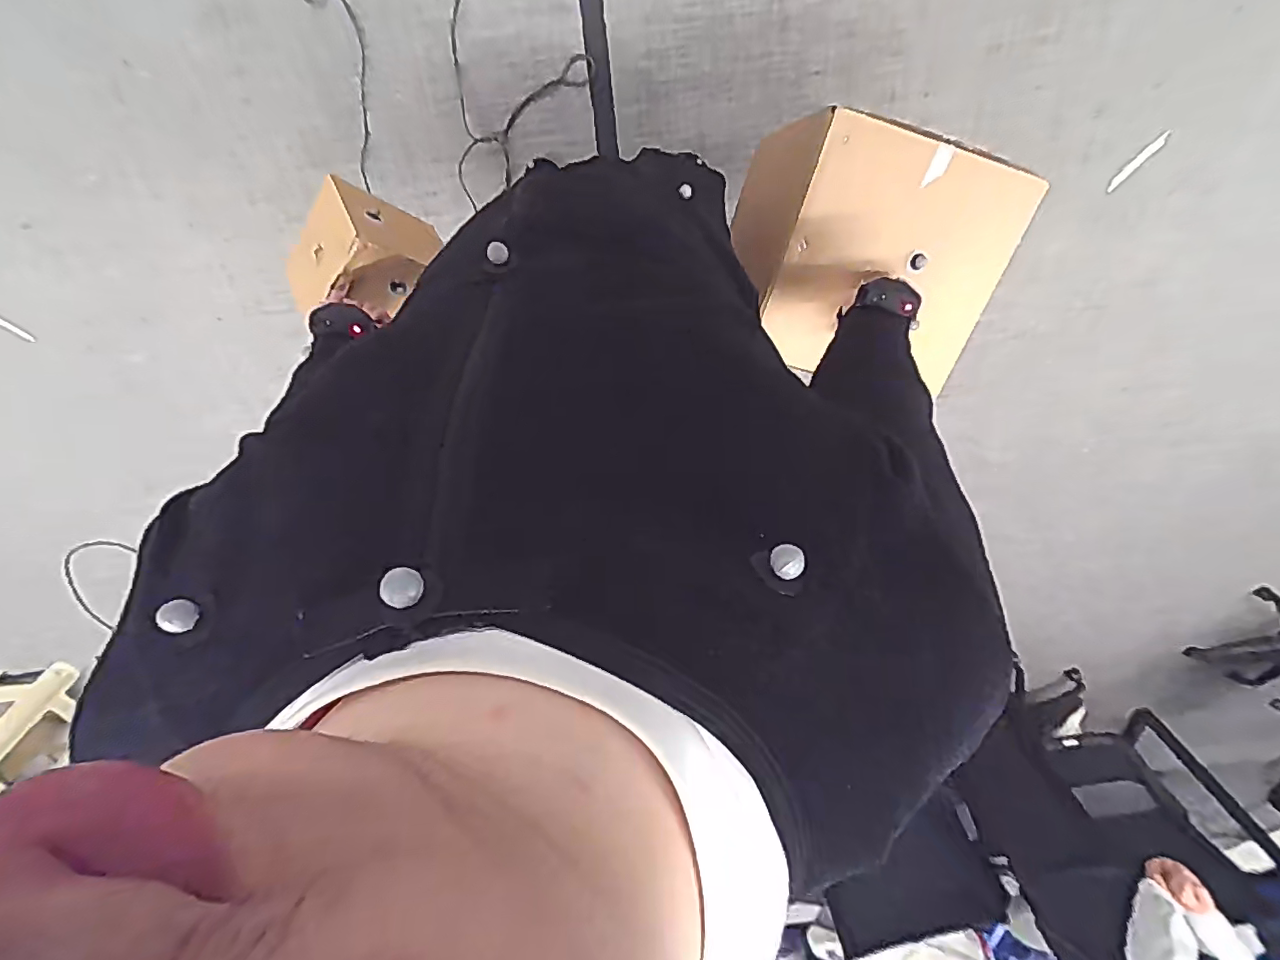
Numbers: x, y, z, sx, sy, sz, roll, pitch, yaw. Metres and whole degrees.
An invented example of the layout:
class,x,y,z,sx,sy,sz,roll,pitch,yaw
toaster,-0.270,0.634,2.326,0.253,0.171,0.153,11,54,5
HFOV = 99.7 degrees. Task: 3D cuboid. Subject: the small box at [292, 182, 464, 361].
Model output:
class,x,y,z,sx,sy,sz,roll,pitch,yaw
small box,-0.399,-0.304,0.831,0.168,0.179,0.176,-46,149,23
